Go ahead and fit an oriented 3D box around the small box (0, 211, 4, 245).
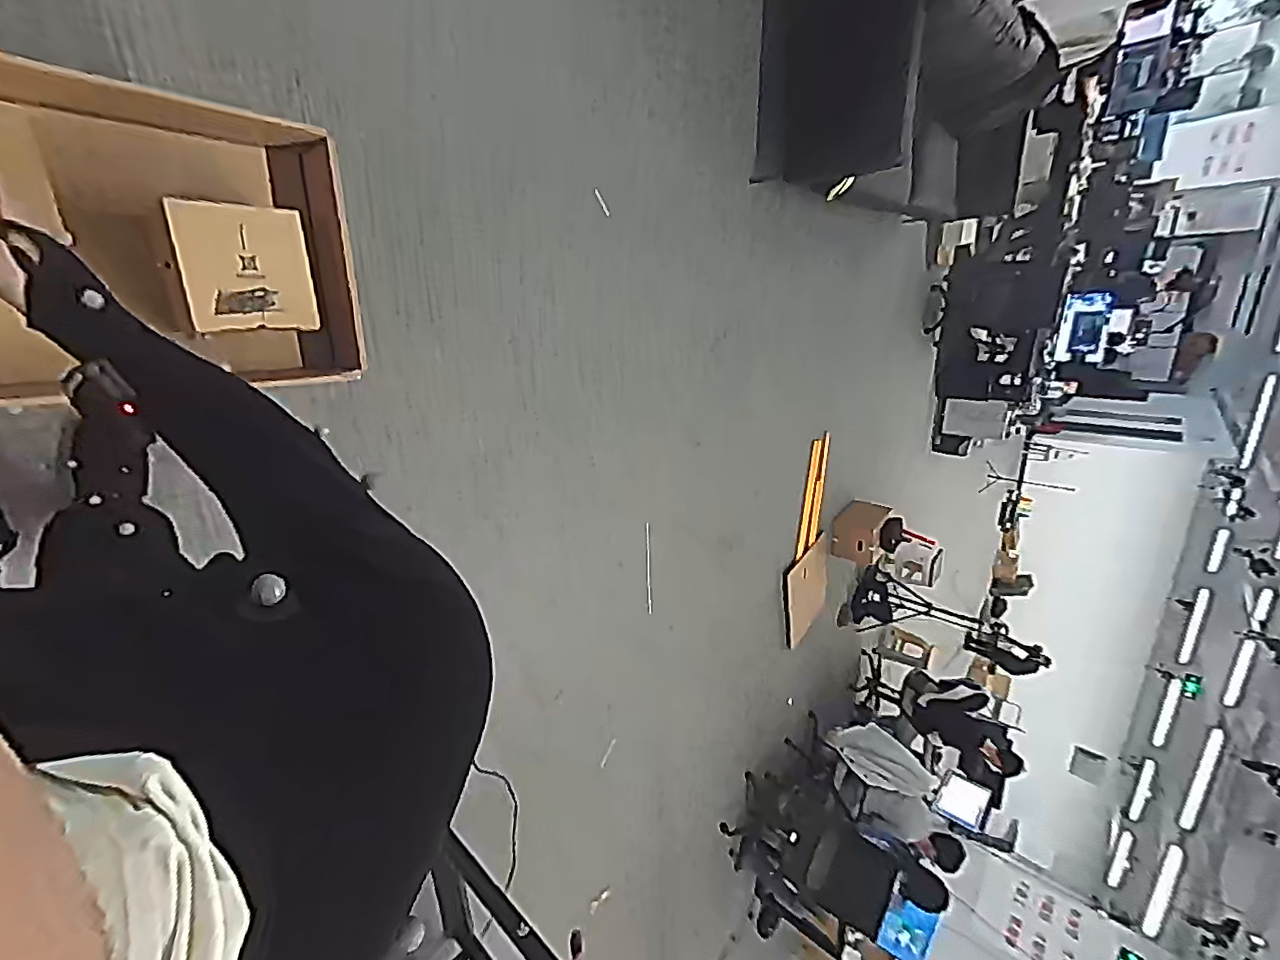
[{"bbox_3d":[-0.692,-0.303,0.463,0.168,0.176,0.179,-14,106,-49],"label":"small box"}]
